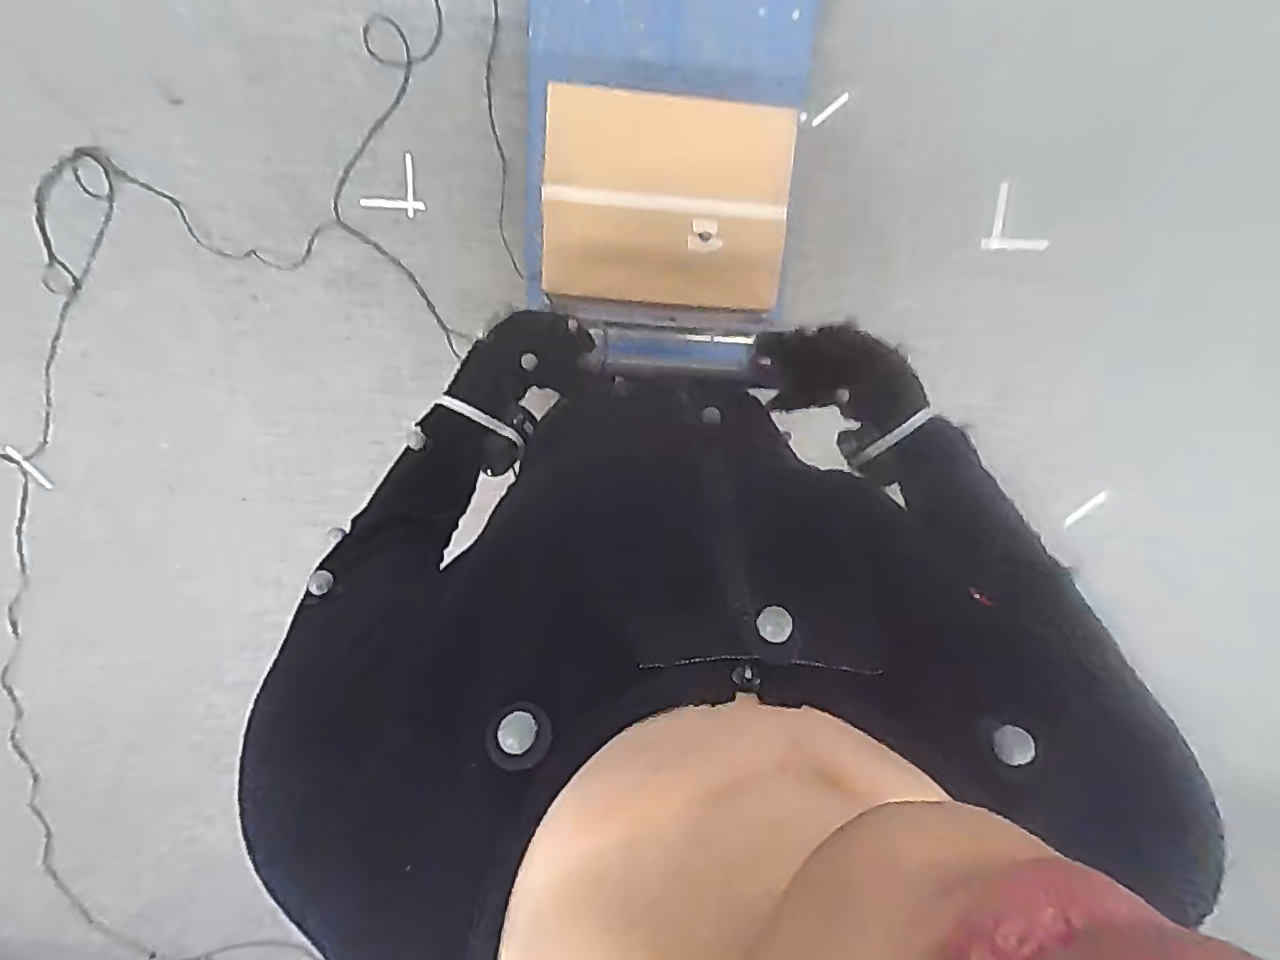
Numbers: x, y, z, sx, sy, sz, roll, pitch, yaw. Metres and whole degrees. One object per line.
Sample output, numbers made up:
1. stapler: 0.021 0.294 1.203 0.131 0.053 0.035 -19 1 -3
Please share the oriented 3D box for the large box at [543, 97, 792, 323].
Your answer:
1. large box: 0.030 -0.479 1.039 0.408 0.320 0.320 3 104 -5
